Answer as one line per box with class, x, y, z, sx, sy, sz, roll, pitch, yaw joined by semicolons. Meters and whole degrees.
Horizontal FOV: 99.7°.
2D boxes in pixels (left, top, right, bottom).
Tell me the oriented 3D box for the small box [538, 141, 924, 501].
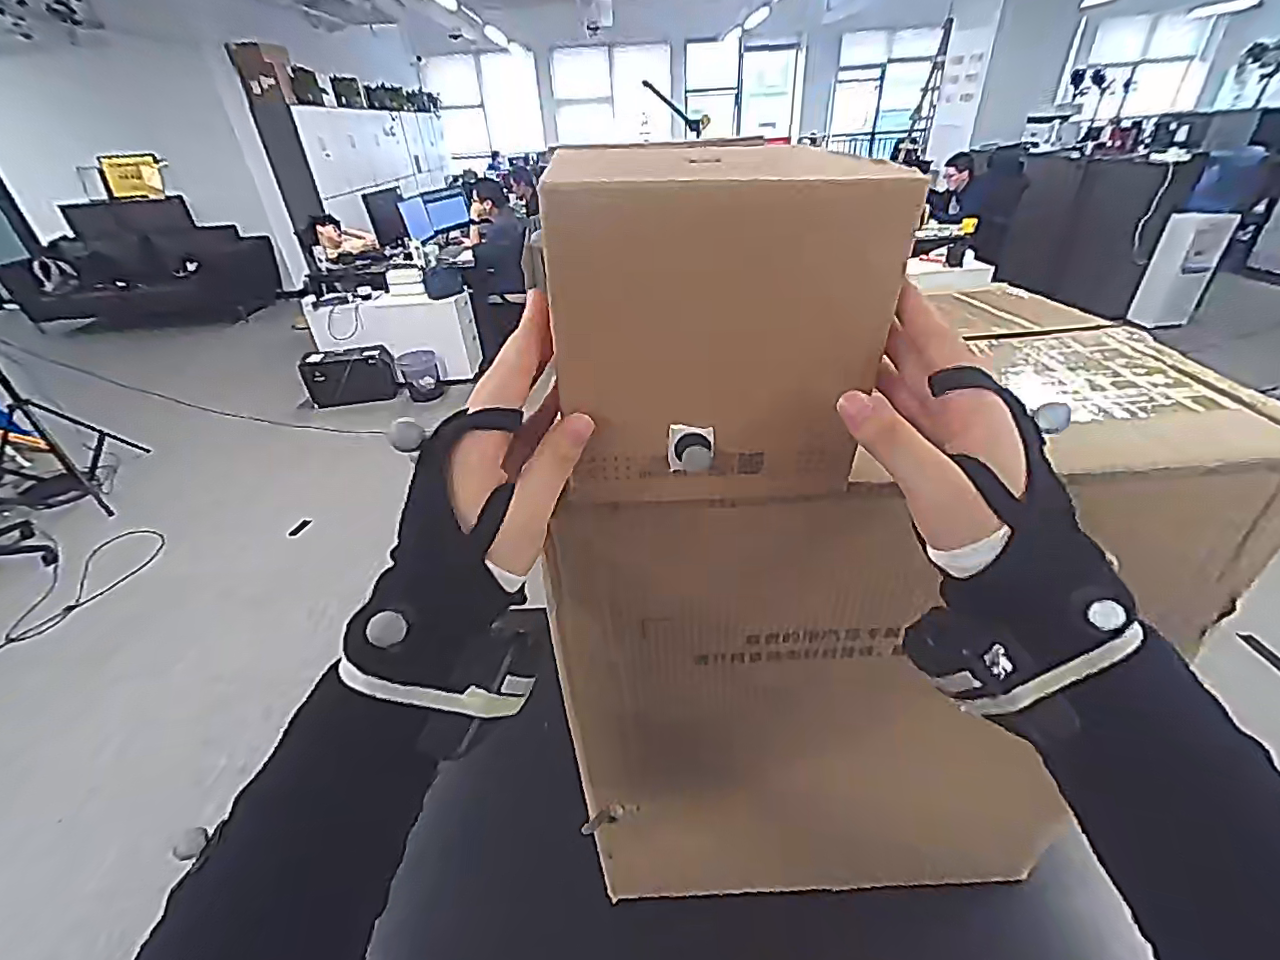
small box;0.033;-0.106;0.336;0.168;0.176;0.179;-4;36;-4
